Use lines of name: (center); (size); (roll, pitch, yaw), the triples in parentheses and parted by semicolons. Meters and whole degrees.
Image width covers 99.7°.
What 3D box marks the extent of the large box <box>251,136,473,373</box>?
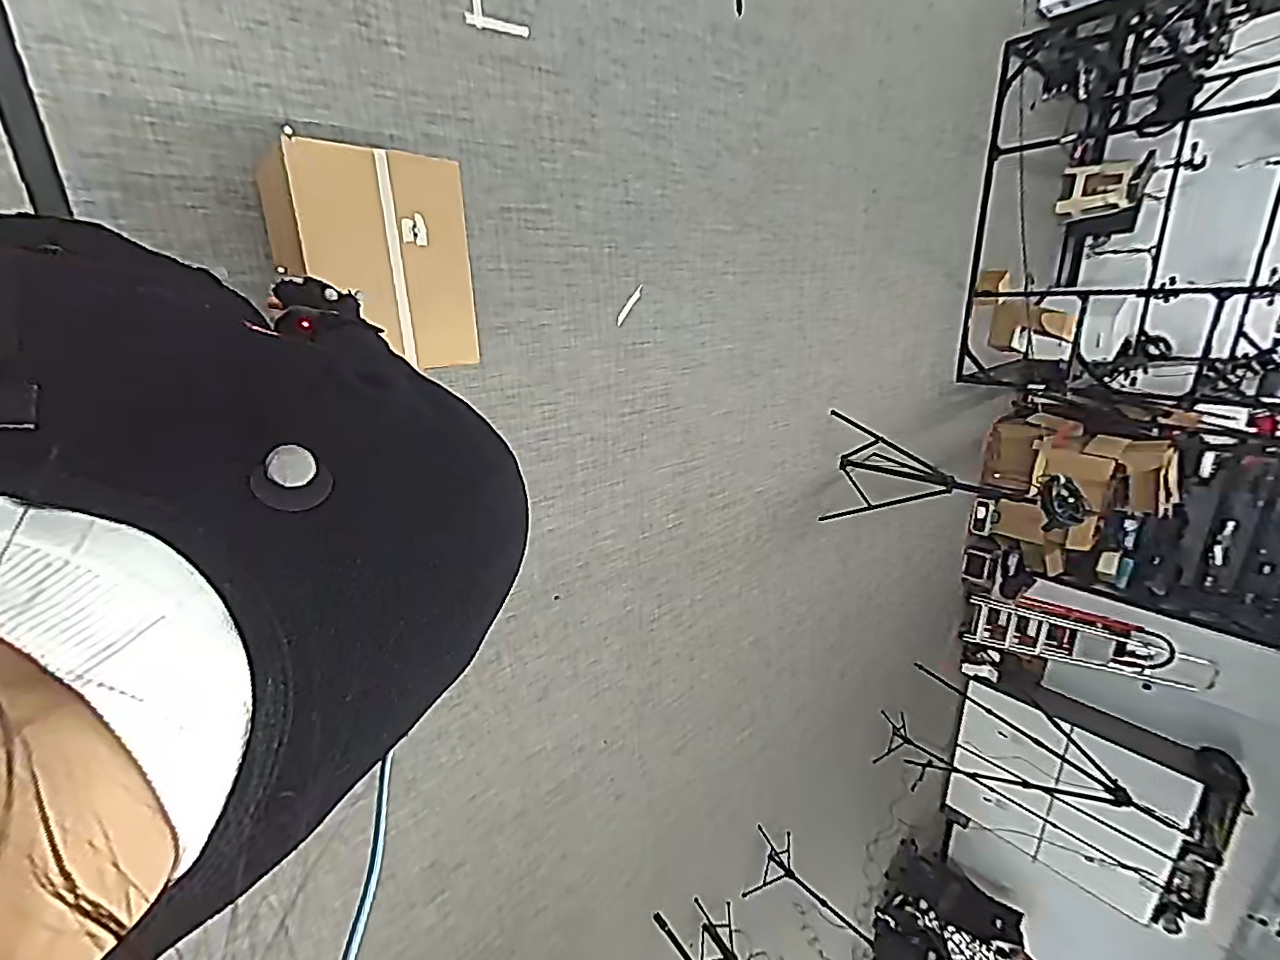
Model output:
large box: (-0.598, -0.457, 1.174); (0.320, 0.320, 0.408); (-17, 113, -40)
